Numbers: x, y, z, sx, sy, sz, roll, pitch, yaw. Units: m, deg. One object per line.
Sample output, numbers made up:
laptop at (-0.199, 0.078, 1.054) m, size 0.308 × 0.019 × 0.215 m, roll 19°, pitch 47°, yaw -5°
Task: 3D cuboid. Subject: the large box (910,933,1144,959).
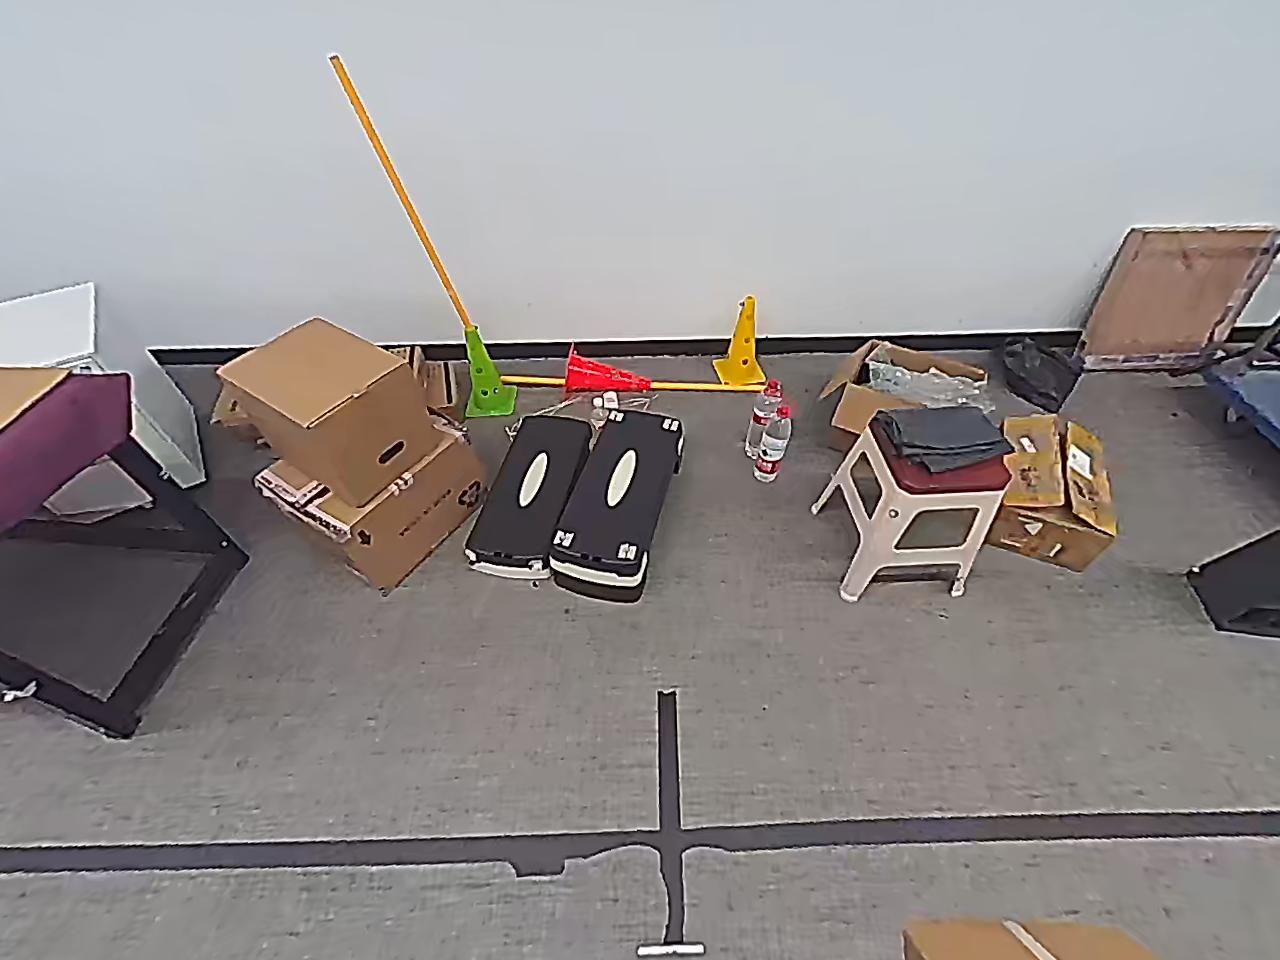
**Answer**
large box at (0.540, 0.779, 0.568) m, size 0.320 × 0.408 × 0.320 m, roll -1°, pitch 79°, yaw 2°
